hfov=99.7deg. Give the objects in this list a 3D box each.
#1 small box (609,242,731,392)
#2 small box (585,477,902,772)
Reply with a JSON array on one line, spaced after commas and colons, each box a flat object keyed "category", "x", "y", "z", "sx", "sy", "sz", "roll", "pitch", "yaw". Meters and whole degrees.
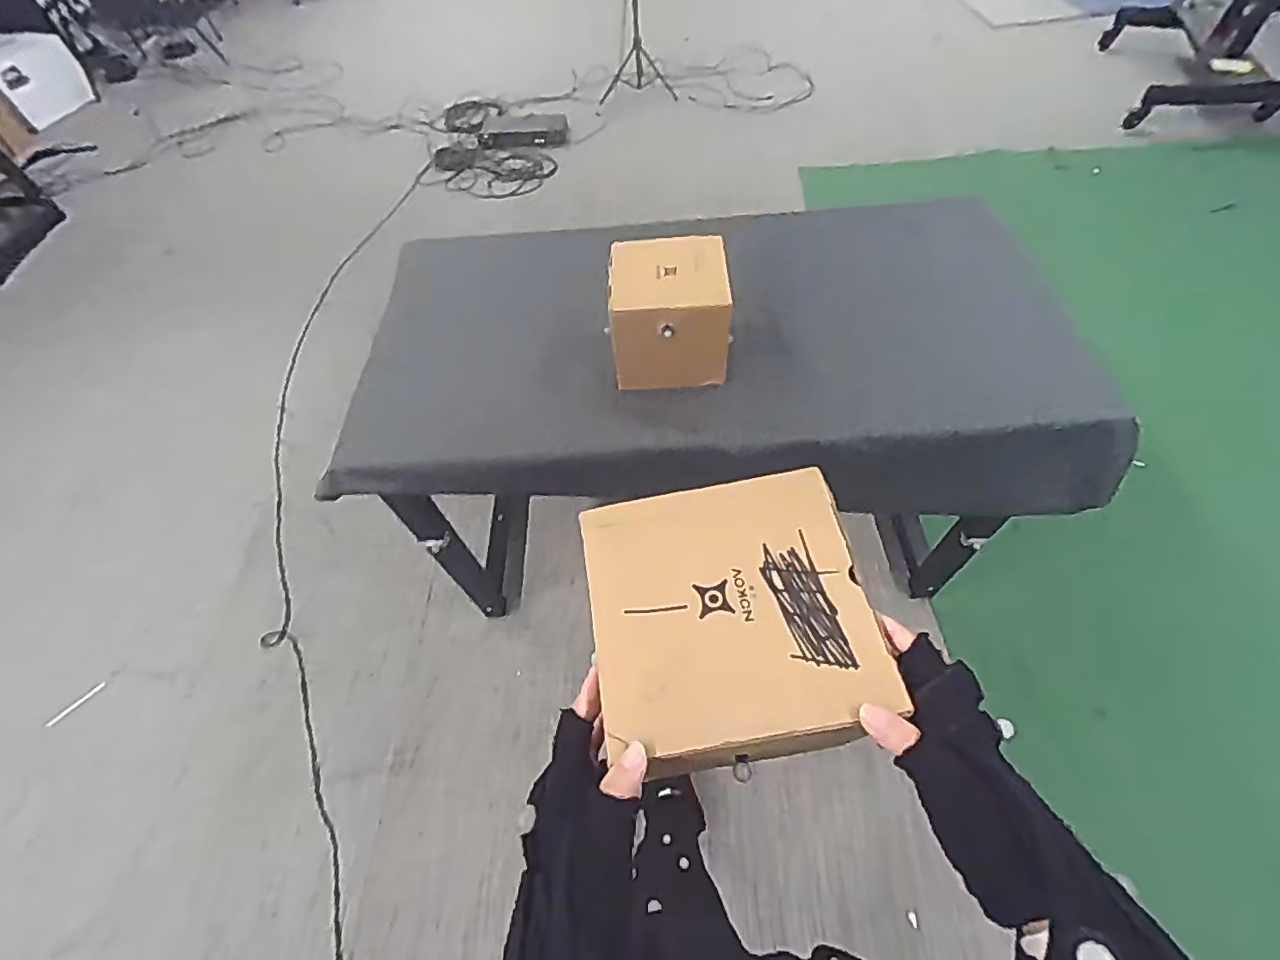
[{"category": "small box", "x": 0.046, "y": -0.255, "z": 0.867, "sx": 0.179, "sy": 0.176, "sz": 0.168, "roll": -2, "pitch": 57, "yaw": 1}, {"category": "small box", "x": 0.061, "y": 0.119, "z": 0.417, "sx": 0.179, "sy": 0.176, "sz": 0.168, "roll": -9, "pitch": 59, "yaw": 0}]
